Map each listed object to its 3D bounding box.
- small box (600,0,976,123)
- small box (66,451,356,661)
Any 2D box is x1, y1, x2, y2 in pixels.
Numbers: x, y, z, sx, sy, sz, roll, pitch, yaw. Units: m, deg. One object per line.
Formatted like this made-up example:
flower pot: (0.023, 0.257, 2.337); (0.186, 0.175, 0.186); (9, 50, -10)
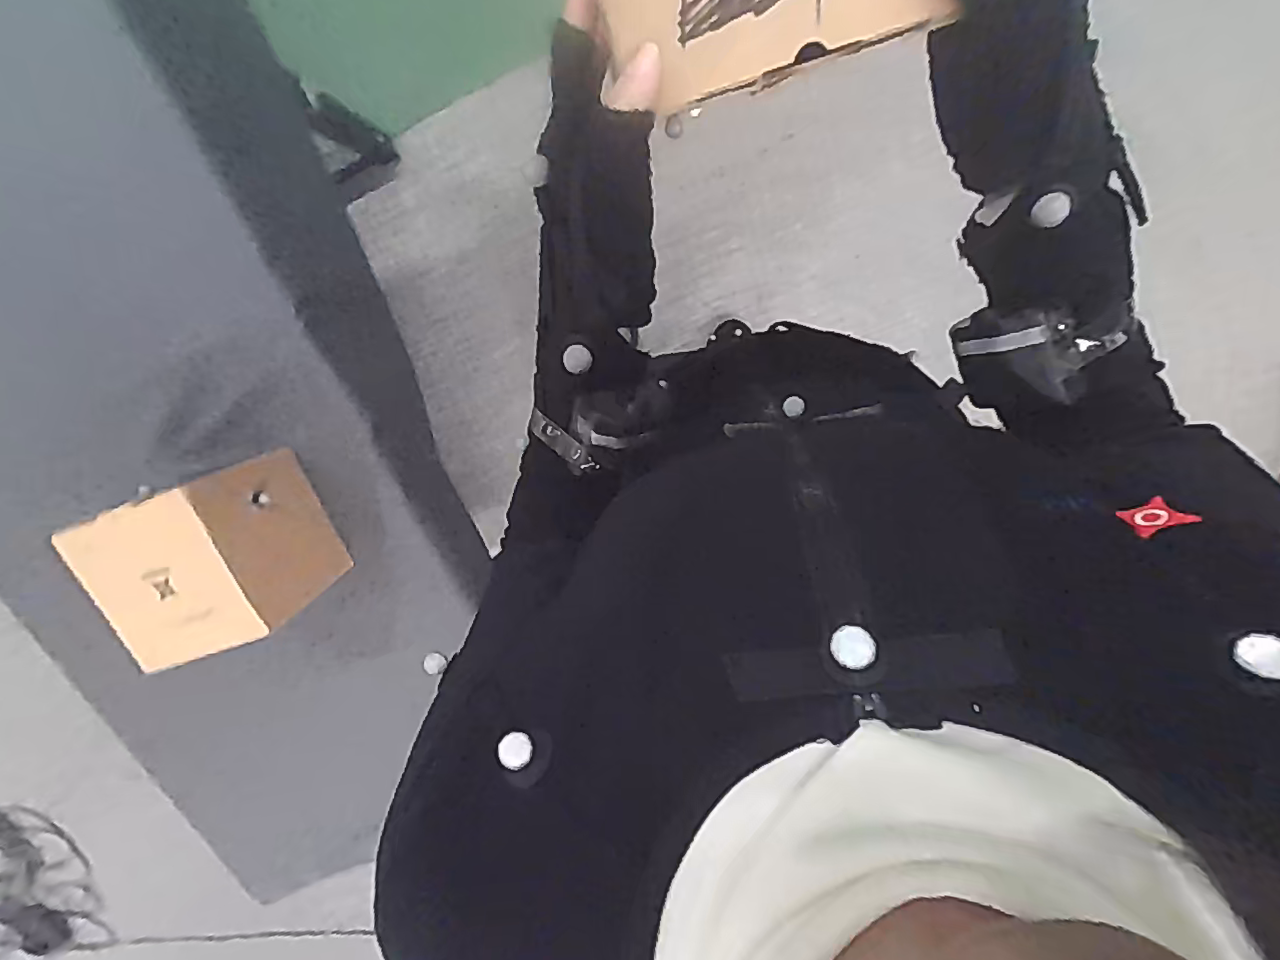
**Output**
small box: (0.051, -0.304, 0.265); (0.168, 0.176, 0.179); (-17, 123, 8)
small box: (-0.489, 0.077, 0.648); (0.168, 0.176, 0.179); (-19, 106, 9)
